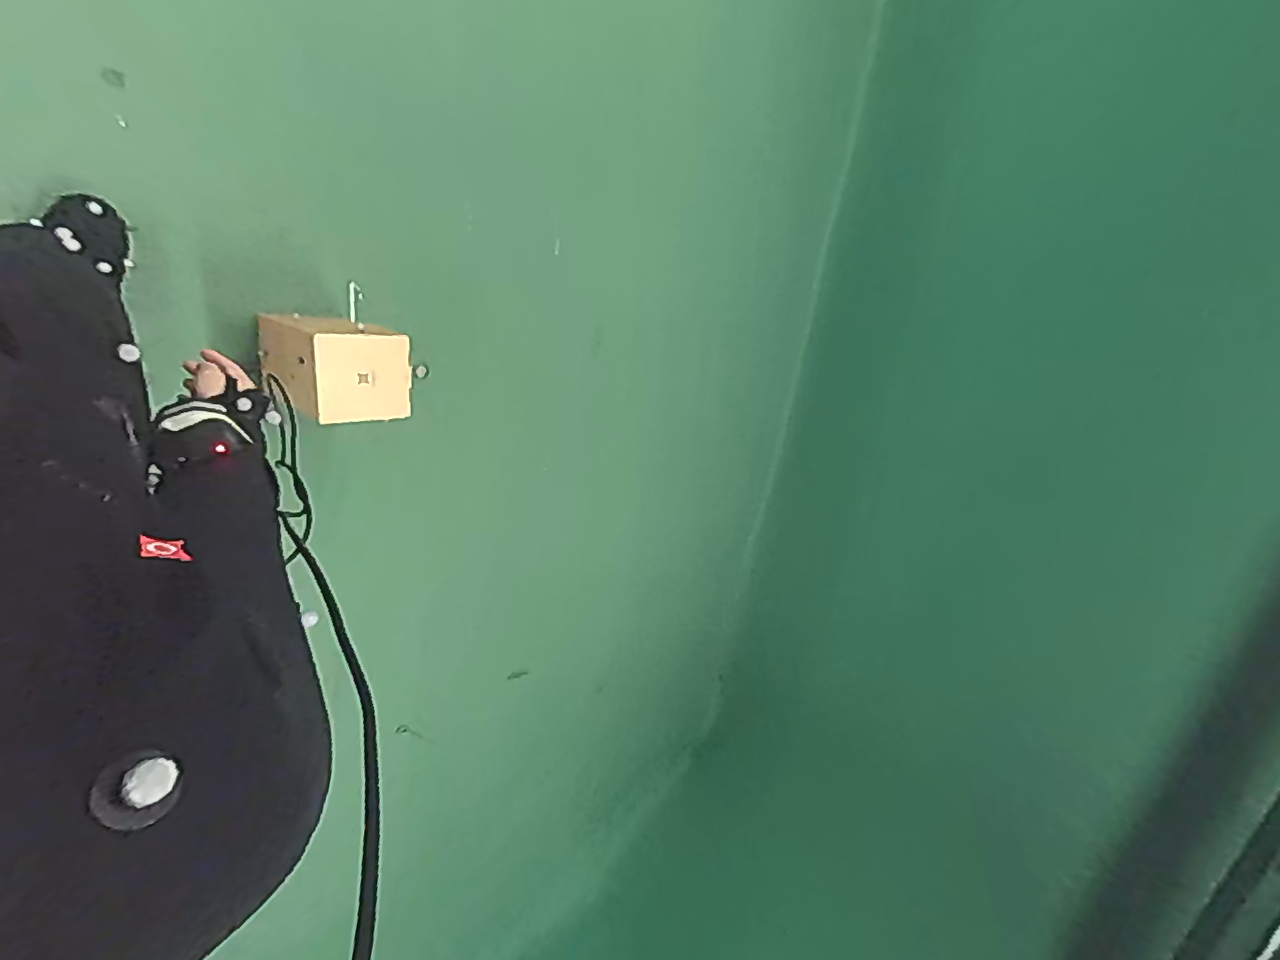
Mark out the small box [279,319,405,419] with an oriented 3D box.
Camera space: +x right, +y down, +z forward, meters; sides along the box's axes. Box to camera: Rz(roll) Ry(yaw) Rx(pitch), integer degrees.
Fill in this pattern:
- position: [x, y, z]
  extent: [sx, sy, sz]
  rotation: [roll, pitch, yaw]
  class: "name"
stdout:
- position: [-0.591, -0.224, 1.073]
  extent: [0.179, 0.176, 0.168]
  rotation: [-15, 120, -48]
  class: "small box"
